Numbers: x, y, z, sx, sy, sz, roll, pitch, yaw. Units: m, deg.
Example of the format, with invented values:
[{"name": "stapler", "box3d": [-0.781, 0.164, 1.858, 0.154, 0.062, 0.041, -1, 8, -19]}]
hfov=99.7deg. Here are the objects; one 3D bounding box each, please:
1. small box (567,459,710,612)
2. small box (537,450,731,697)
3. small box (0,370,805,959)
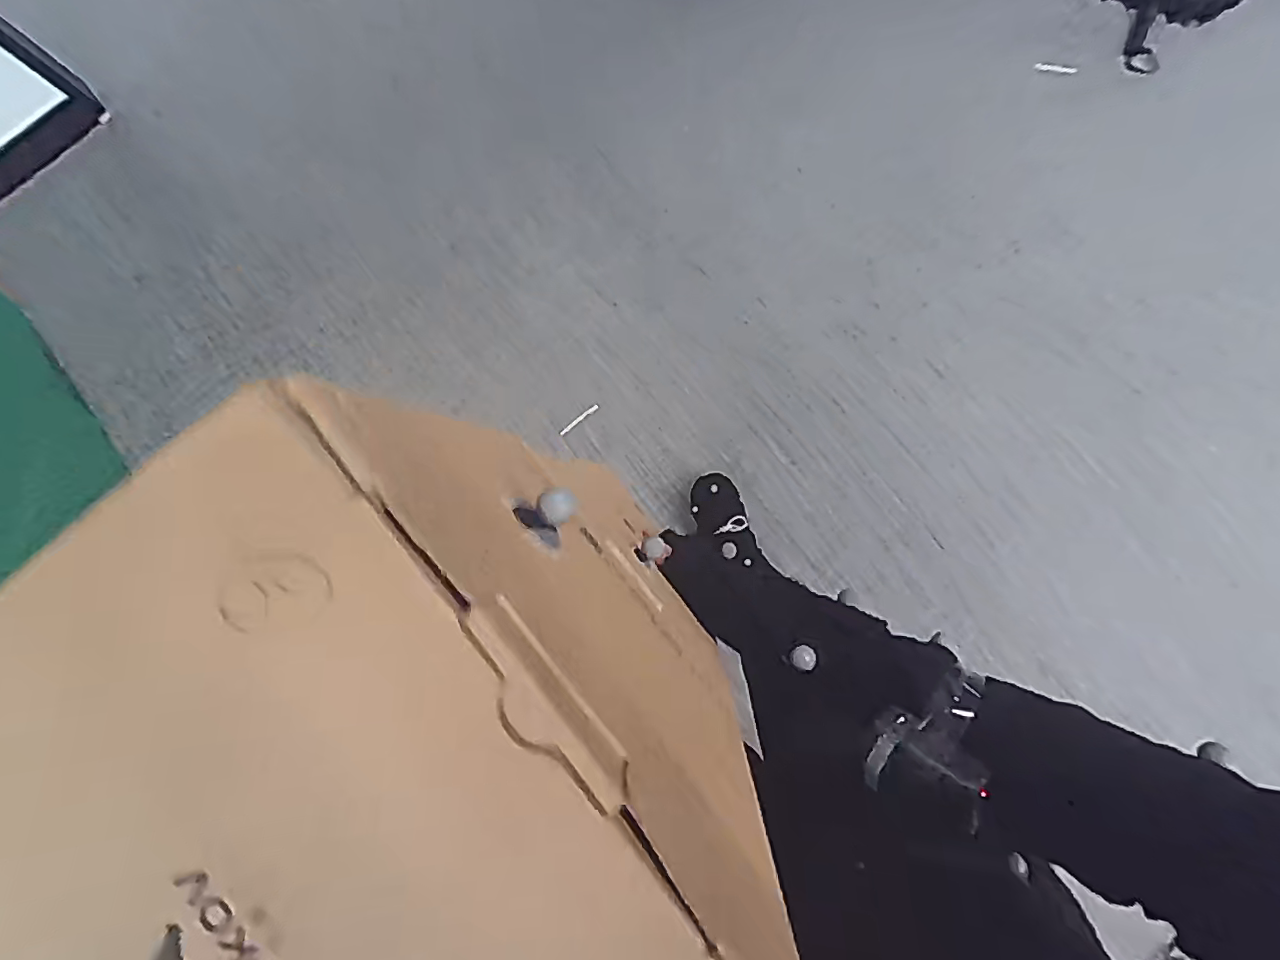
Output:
[{"name": "small box", "box3d": [-0.056, 0.099, 0.523, 0.179, 0.176, 0.168, -44, 87, 1]}, {"name": "small box", "box3d": [-0.066, 0.100, 0.360, 0.179, 0.176, 0.168, -39, 87, 2]}, {"name": "small box", "box3d": [-0.076, 0.092, 0.197, 0.179, 0.176, 0.168, -40, 85, 3]}]
